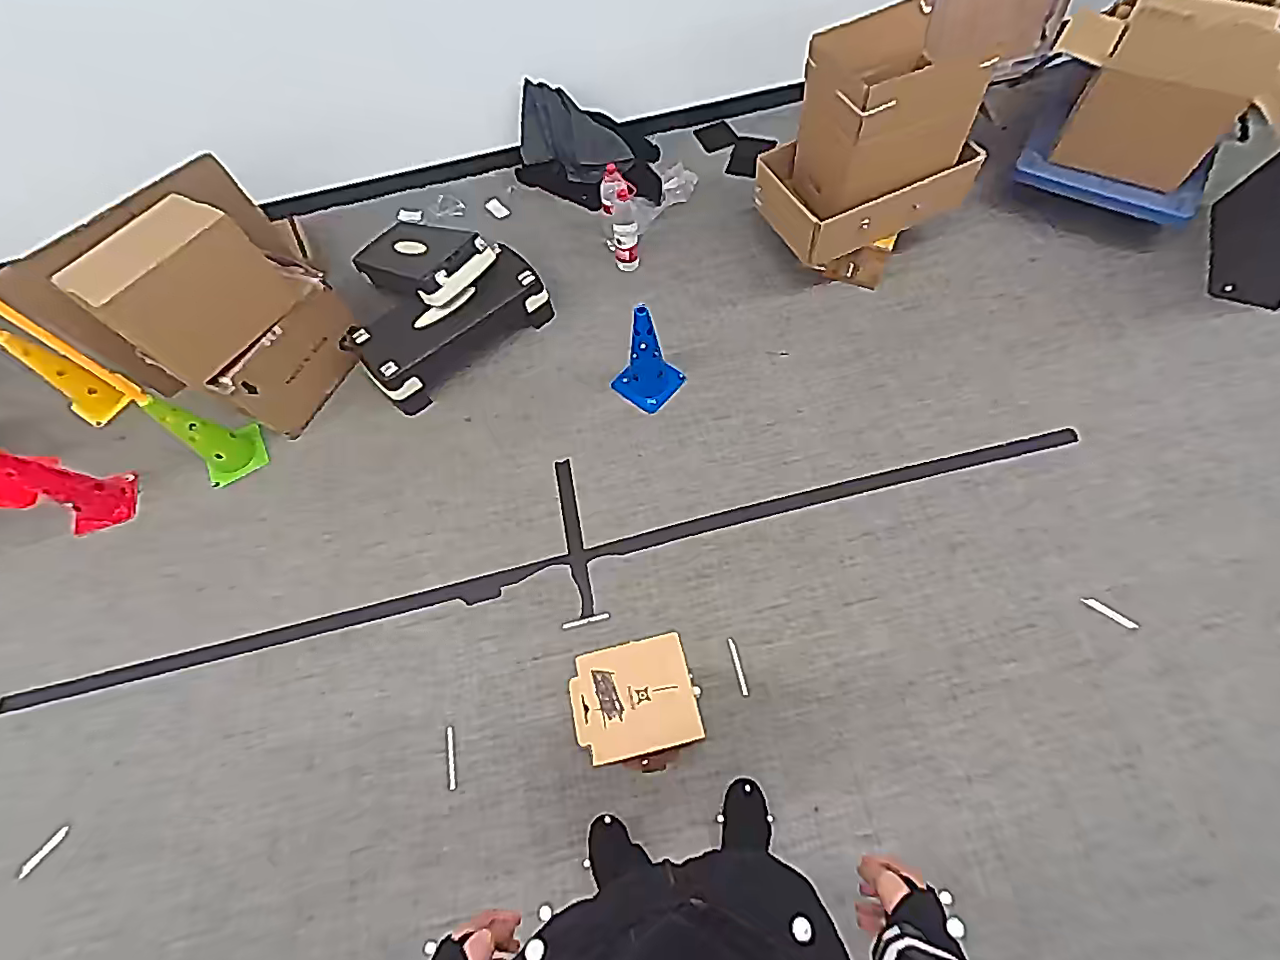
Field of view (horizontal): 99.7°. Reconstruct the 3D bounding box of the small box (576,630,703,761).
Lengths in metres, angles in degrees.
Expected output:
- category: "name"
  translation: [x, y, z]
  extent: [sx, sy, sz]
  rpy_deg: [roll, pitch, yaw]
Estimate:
- category: "small box"
  translation: [0.002, 0.369, 0.918]
  extent: [0.179, 0.176, 0.168]
  rpy_deg: [-13, 64, -3]
